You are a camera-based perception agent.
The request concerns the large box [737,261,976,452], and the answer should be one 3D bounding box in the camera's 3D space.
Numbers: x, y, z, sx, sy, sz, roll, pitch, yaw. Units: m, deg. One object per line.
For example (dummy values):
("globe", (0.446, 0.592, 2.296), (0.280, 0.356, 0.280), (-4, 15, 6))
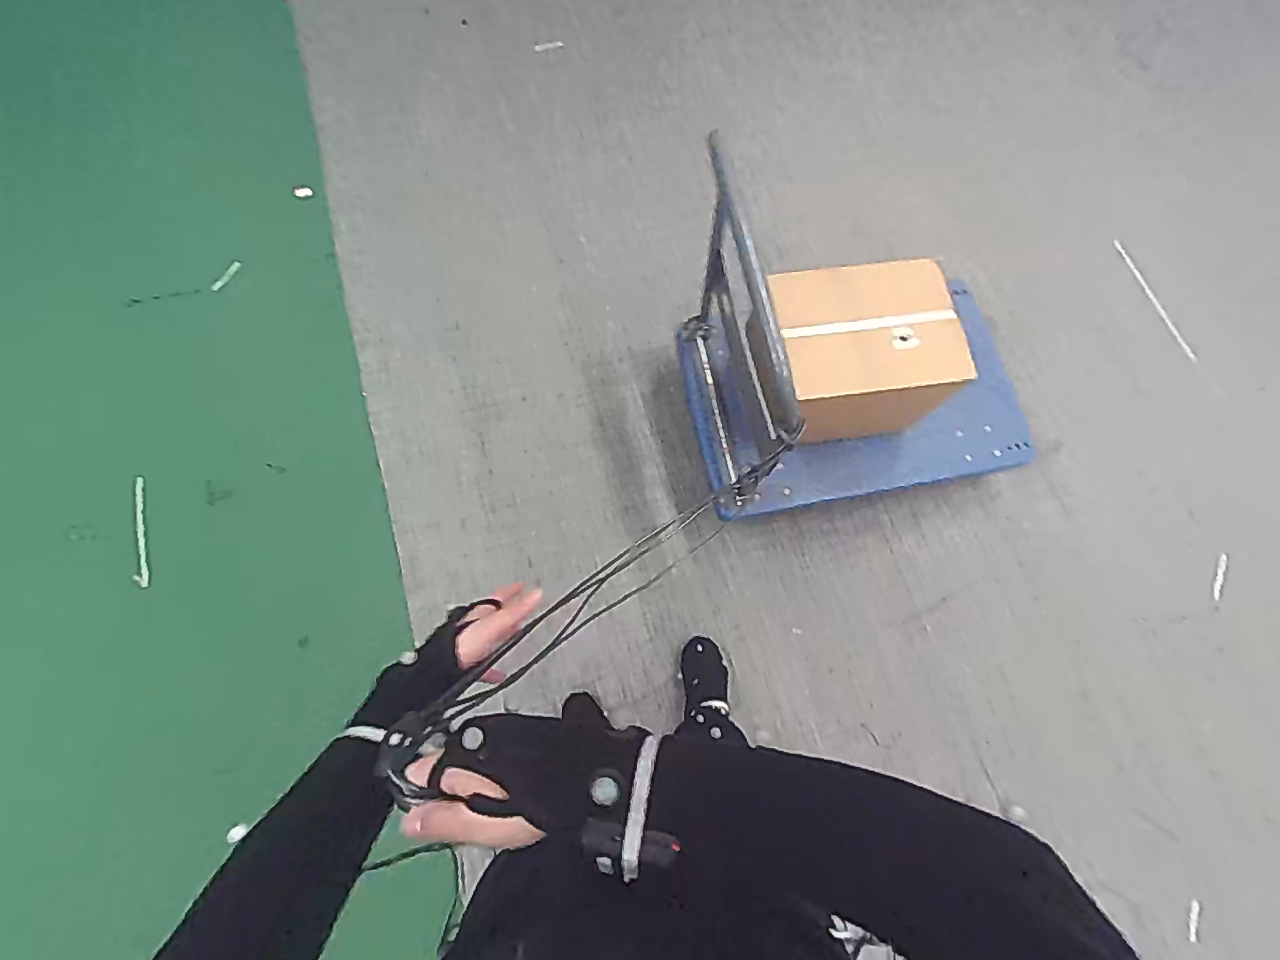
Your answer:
("large box", (0.490, -0.283, 1.313), (0.408, 0.320, 0.320), (-8, 75, -5))
